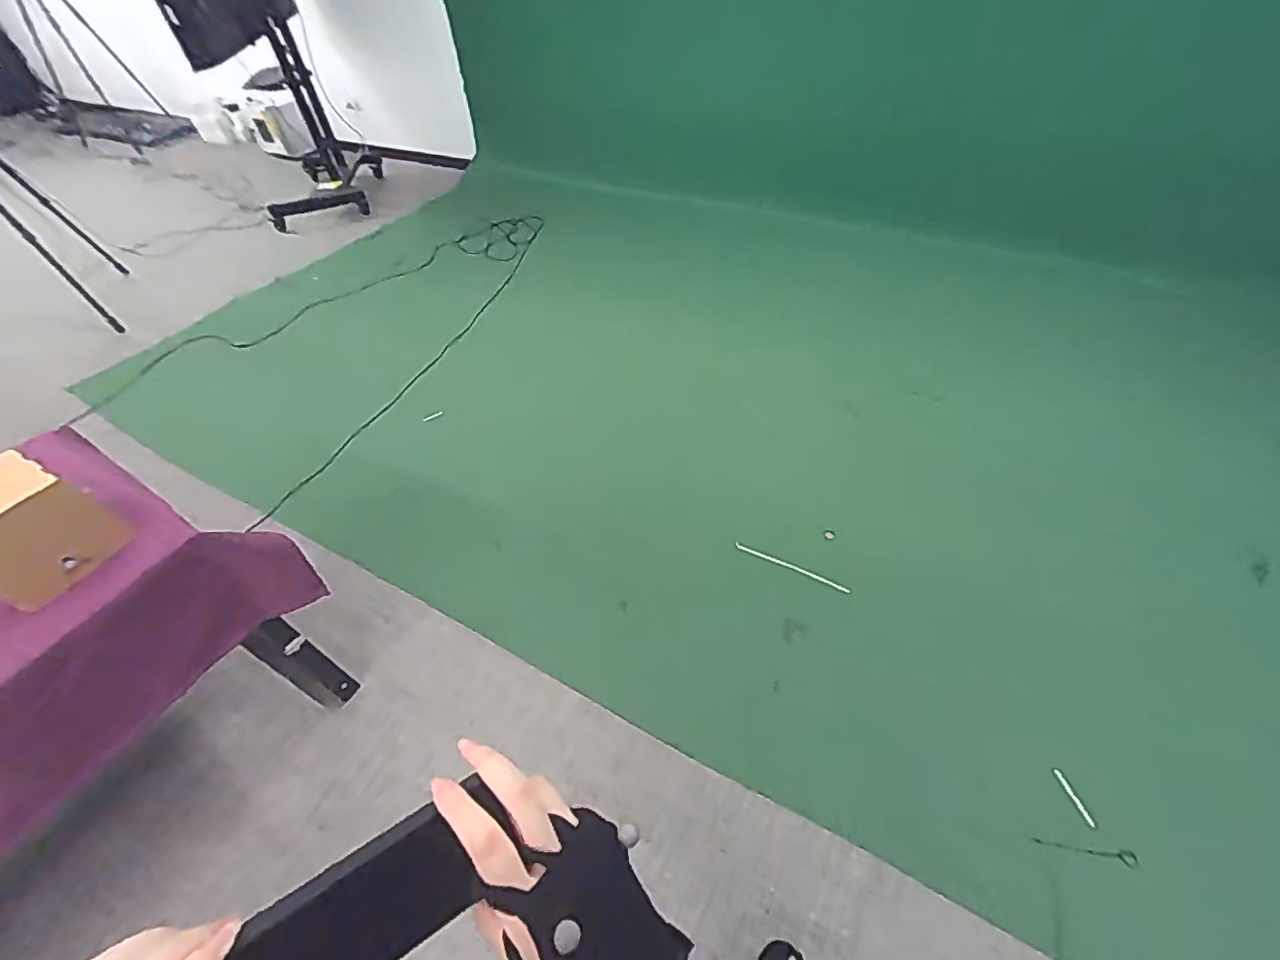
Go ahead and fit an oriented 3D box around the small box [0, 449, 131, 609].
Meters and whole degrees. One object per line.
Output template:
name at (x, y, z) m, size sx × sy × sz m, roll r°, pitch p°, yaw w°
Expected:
small box at (-1.031, 0.082, 0.916) m, size 0.168 × 0.176 × 0.179 m, roll 20°, pitch 53°, yaw 21°
